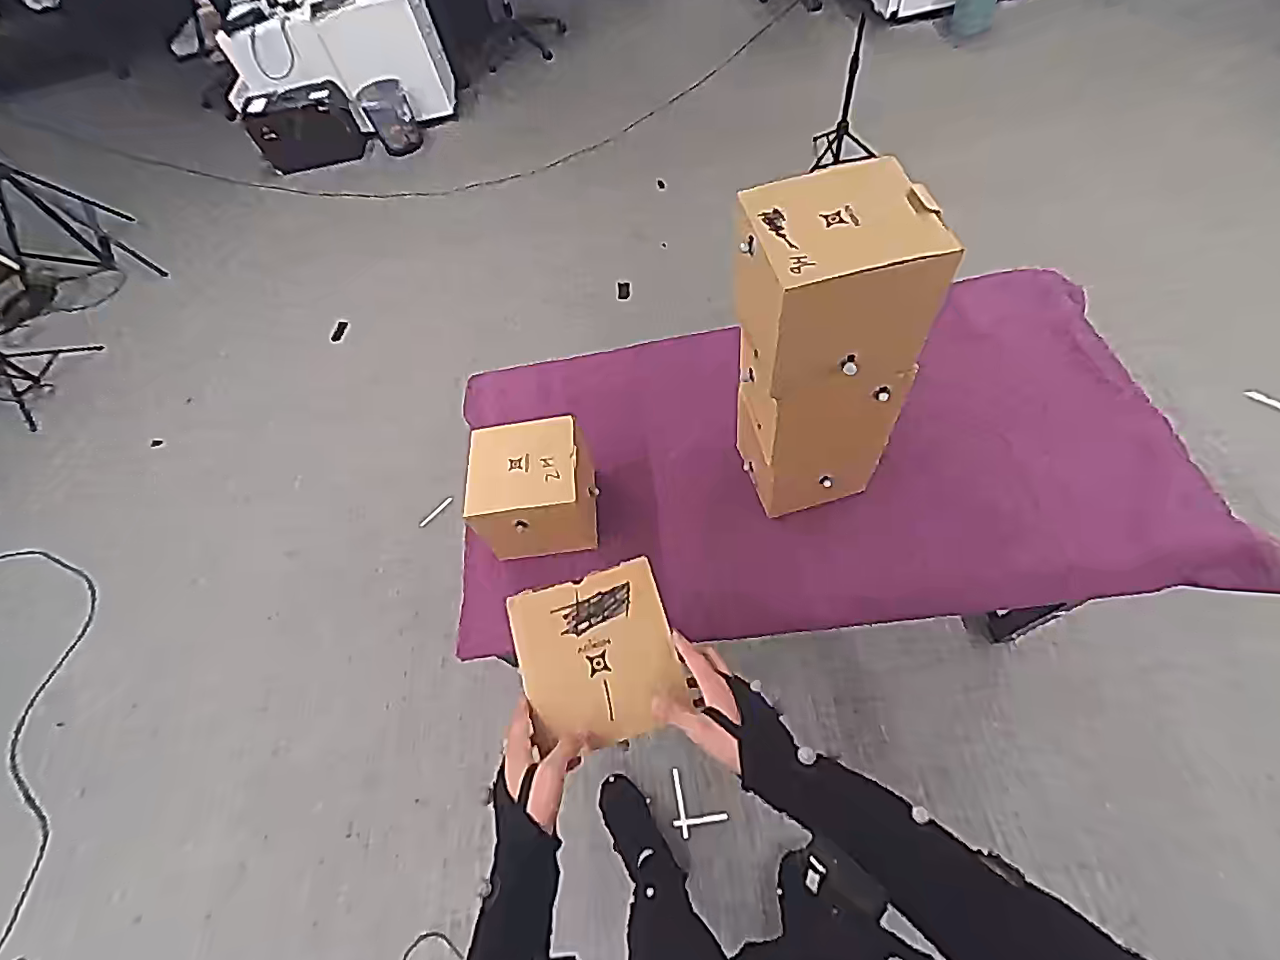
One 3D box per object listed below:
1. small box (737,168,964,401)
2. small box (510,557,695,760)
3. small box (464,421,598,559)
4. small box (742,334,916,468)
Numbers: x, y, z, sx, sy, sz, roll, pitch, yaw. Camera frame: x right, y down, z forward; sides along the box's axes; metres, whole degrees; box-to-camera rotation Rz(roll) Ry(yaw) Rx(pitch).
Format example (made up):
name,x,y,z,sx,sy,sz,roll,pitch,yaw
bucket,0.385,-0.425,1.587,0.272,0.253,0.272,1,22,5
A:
name,x,y,z,sx,sy,sz,roll,pitch,yaw
small box,0.217,-0.214,0.616,0.179,0.176,0.168,-11,58,1
small box,-0.044,0.213,0.649,0.168,0.176,0.179,-16,69,-5
small box,-0.174,0.024,0.913,0.179,0.176,0.168,-7,58,3
small box,0.246,-0.135,0.758,0.179,0.176,0.168,-12,59,1
